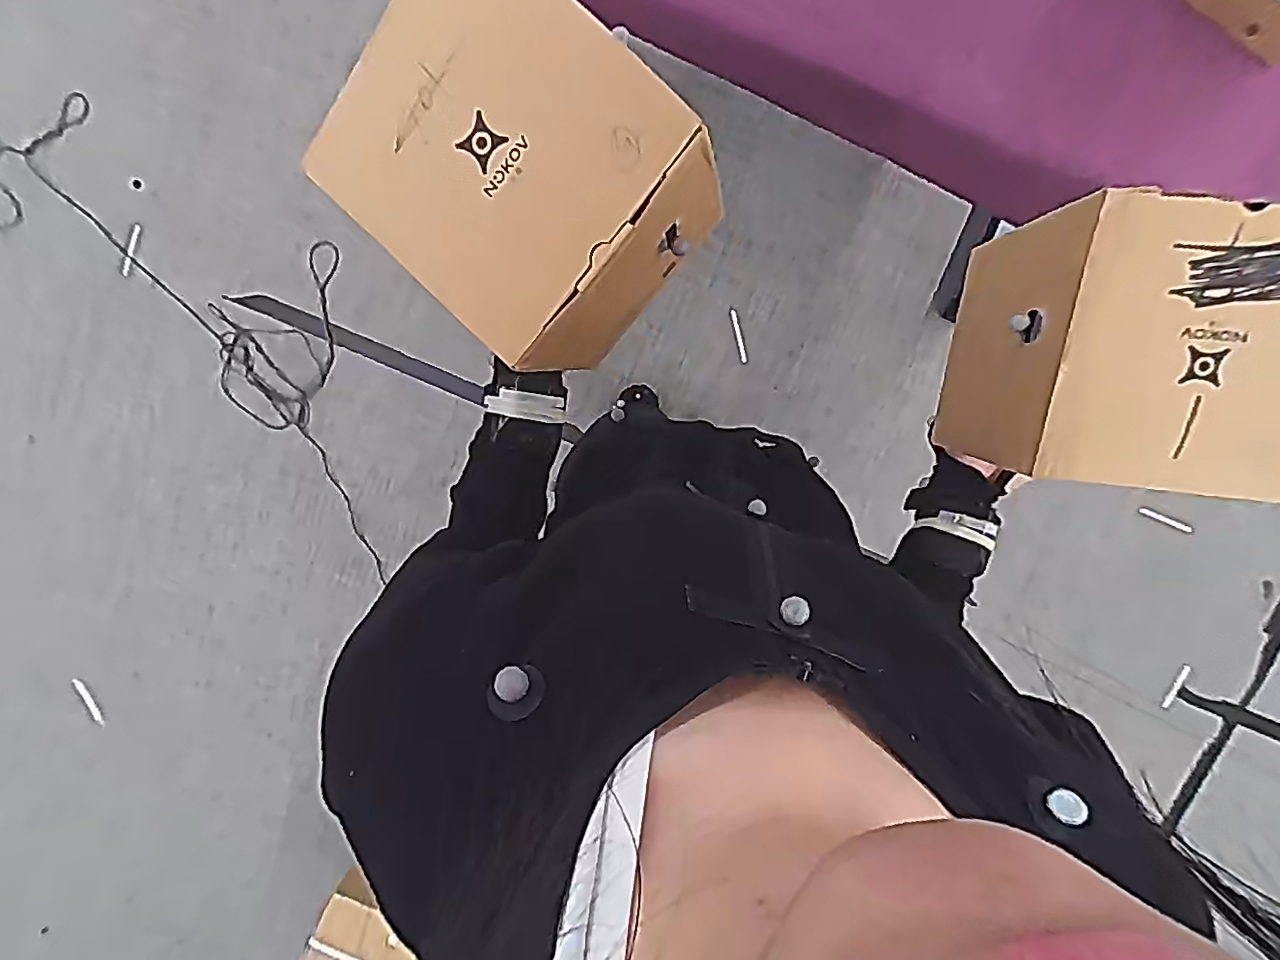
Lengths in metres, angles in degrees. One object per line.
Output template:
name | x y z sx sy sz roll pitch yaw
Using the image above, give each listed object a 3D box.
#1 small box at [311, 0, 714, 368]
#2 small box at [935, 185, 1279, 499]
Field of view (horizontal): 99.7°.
small box | -0.065 -0.197 0.373 0.179 0.176 0.168 43 106 1
small box | 0.352 -0.097 0.410 0.168 0.176 0.179 7 103 6
